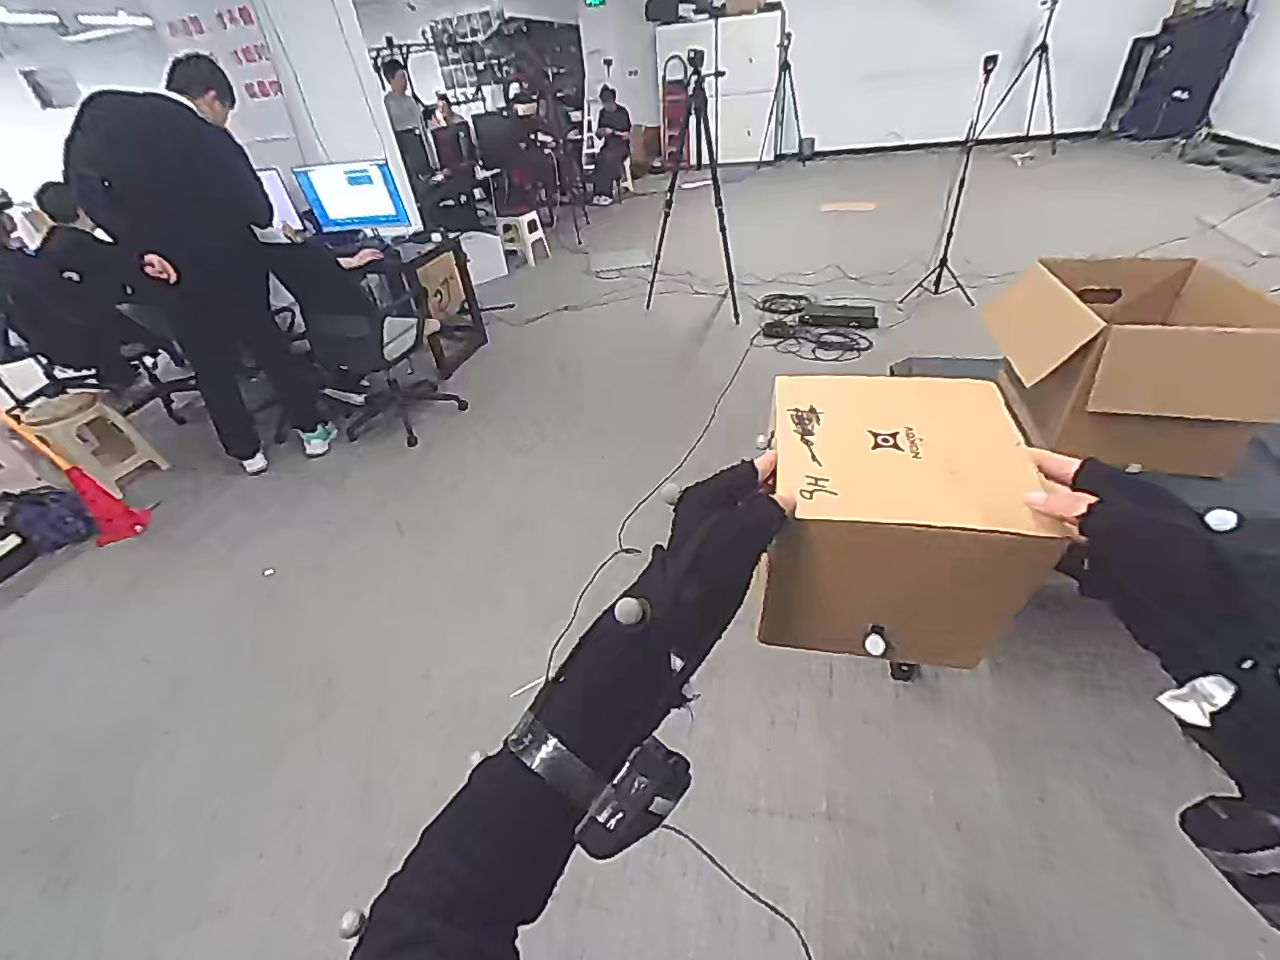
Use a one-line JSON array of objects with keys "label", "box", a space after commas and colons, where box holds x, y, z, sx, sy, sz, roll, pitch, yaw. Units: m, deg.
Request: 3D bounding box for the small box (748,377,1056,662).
[{"label": "small box", "box": [0.193, 0.034, 0.459, 0.179, 0.176, 0.168, 6, 44, 9]}]
